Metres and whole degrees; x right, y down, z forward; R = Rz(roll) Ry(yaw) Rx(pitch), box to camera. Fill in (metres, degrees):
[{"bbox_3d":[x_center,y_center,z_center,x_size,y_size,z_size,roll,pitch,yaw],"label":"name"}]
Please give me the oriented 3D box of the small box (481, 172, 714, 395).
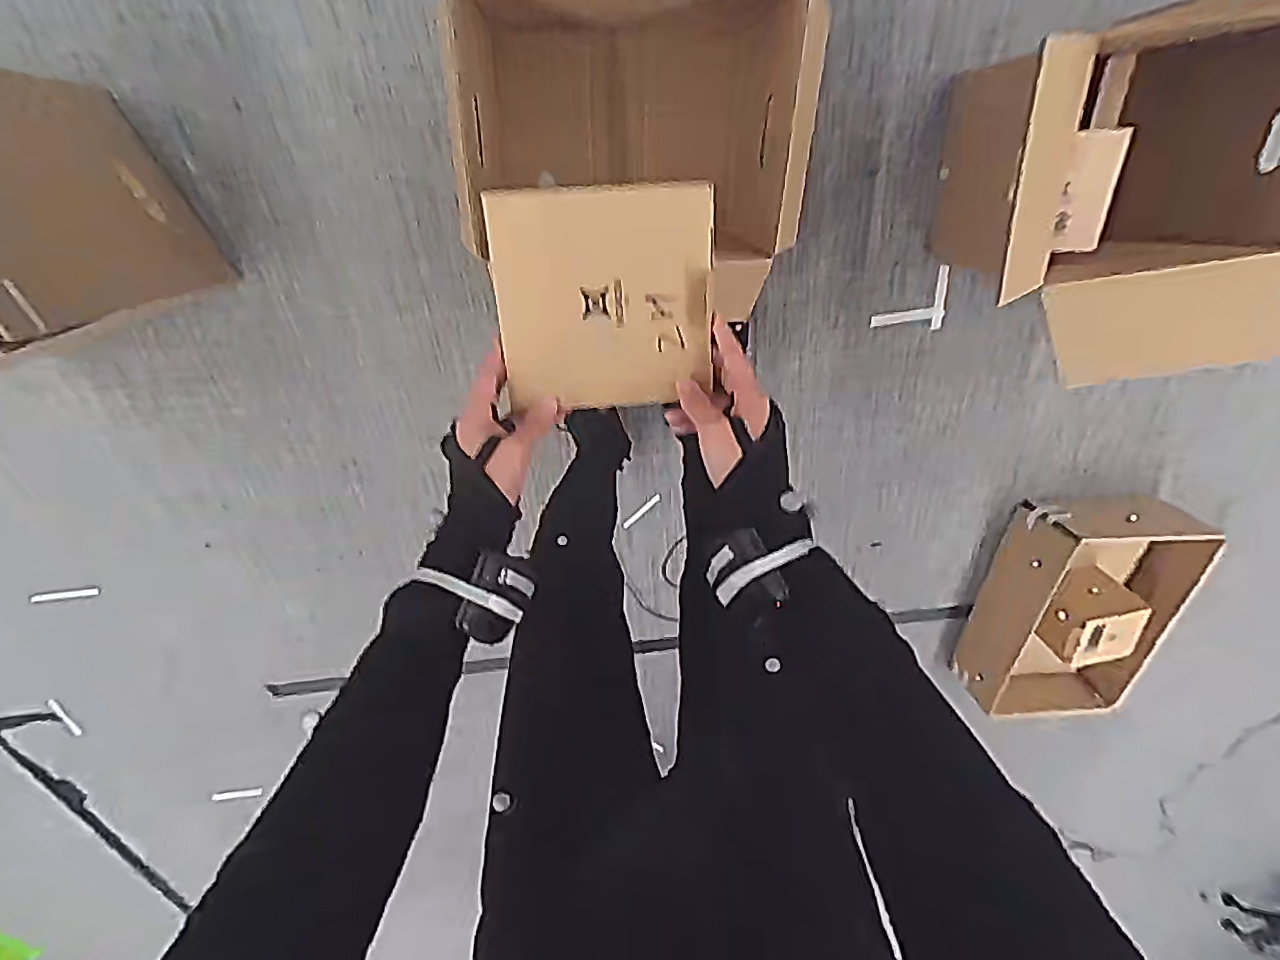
[{"bbox_3d":[-0.032,-0.180,0.503,0.179,0.176,0.168,-3,113,-2],"label":"small box"}]
